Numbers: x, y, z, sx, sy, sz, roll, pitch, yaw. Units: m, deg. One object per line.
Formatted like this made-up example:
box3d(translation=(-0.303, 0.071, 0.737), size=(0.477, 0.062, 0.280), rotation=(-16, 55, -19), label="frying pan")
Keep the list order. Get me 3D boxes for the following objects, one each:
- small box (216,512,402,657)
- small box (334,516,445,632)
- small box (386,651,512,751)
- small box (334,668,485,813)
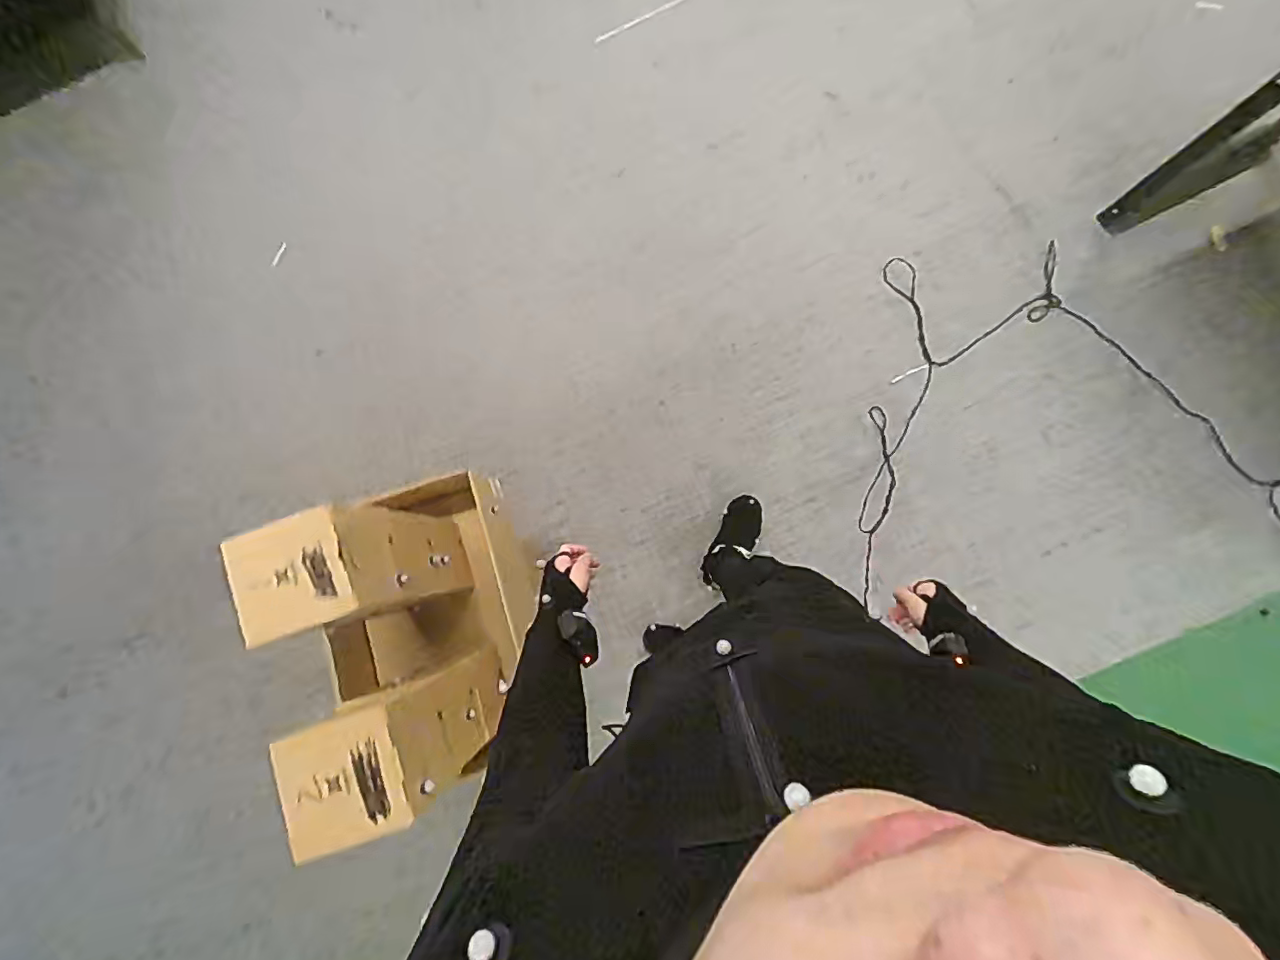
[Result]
box3d(translation=(-0.502, 0.155, 0.850), size=(0.179, 0.176, 0.168), rotation=(-20, 83, 1), label="small box")
box3d(translation=(-0.497, 0.176, 1.012), size=(0.179, 0.176, 0.168), rotation=(-20, 83, 0), label="small box")
box3d(translation=(-0.392, 0.474, 1.132), size=(0.179, 0.176, 0.168), rotation=(-18, 83, 2), label="small box")
box3d(translation=(-0.405, 0.456, 0.972), size=(0.179, 0.176, 0.168), rotation=(-17, 82, 1), label="small box")
